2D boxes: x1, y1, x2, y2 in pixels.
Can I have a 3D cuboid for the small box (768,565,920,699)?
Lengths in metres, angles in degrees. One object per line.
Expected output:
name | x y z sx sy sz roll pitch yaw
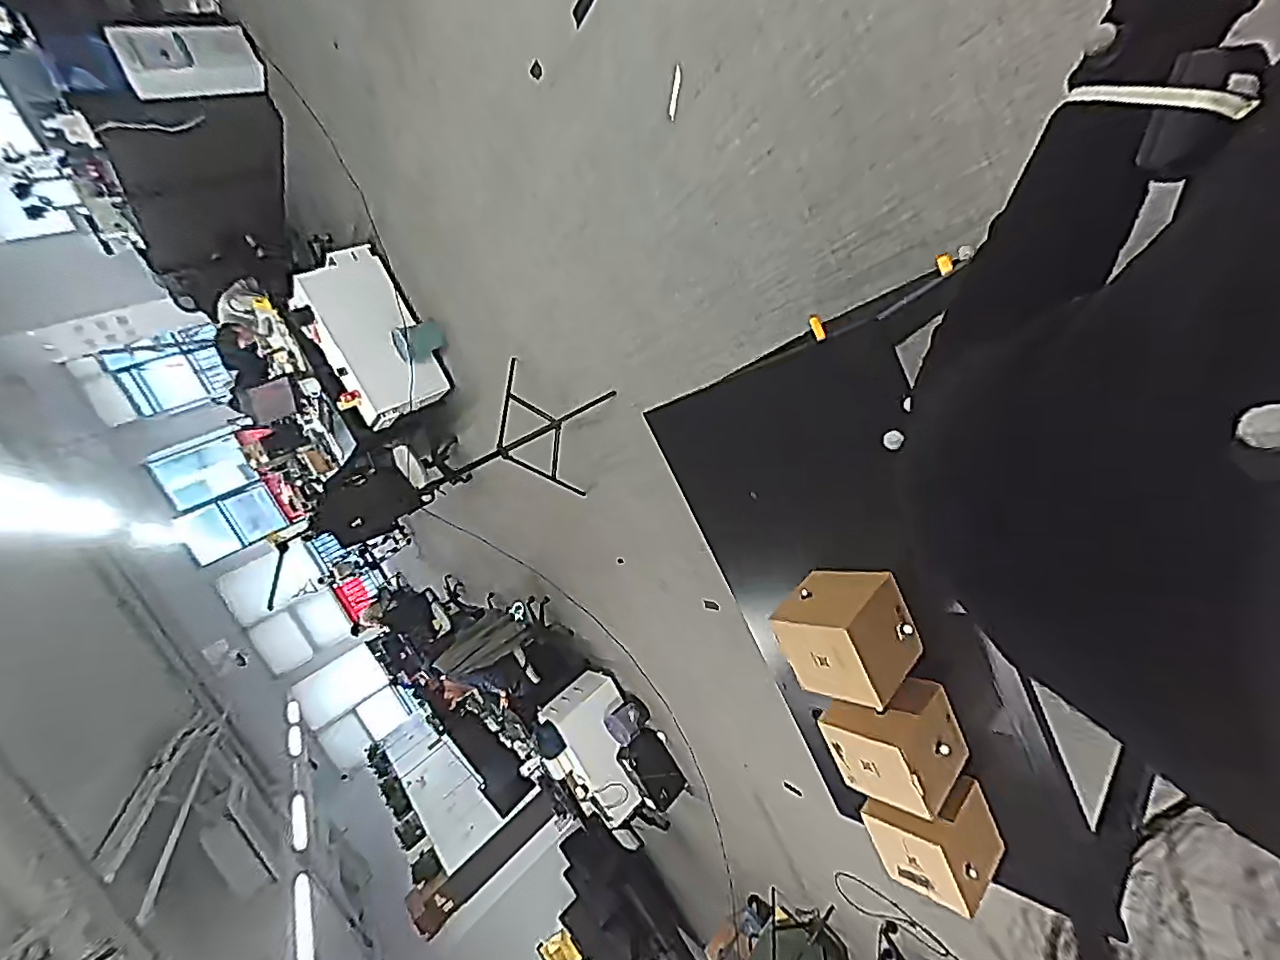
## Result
small box | 0.379 0.270 1.006 0.179 0.176 0.168 -14 108 56

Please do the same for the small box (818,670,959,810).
small box | 0.486 0.480 1.044 0.179 0.176 0.168 -12 107 56

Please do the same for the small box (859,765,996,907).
small box | 0.583 0.686 1.091 0.168 0.176 0.179 -11 107 56
